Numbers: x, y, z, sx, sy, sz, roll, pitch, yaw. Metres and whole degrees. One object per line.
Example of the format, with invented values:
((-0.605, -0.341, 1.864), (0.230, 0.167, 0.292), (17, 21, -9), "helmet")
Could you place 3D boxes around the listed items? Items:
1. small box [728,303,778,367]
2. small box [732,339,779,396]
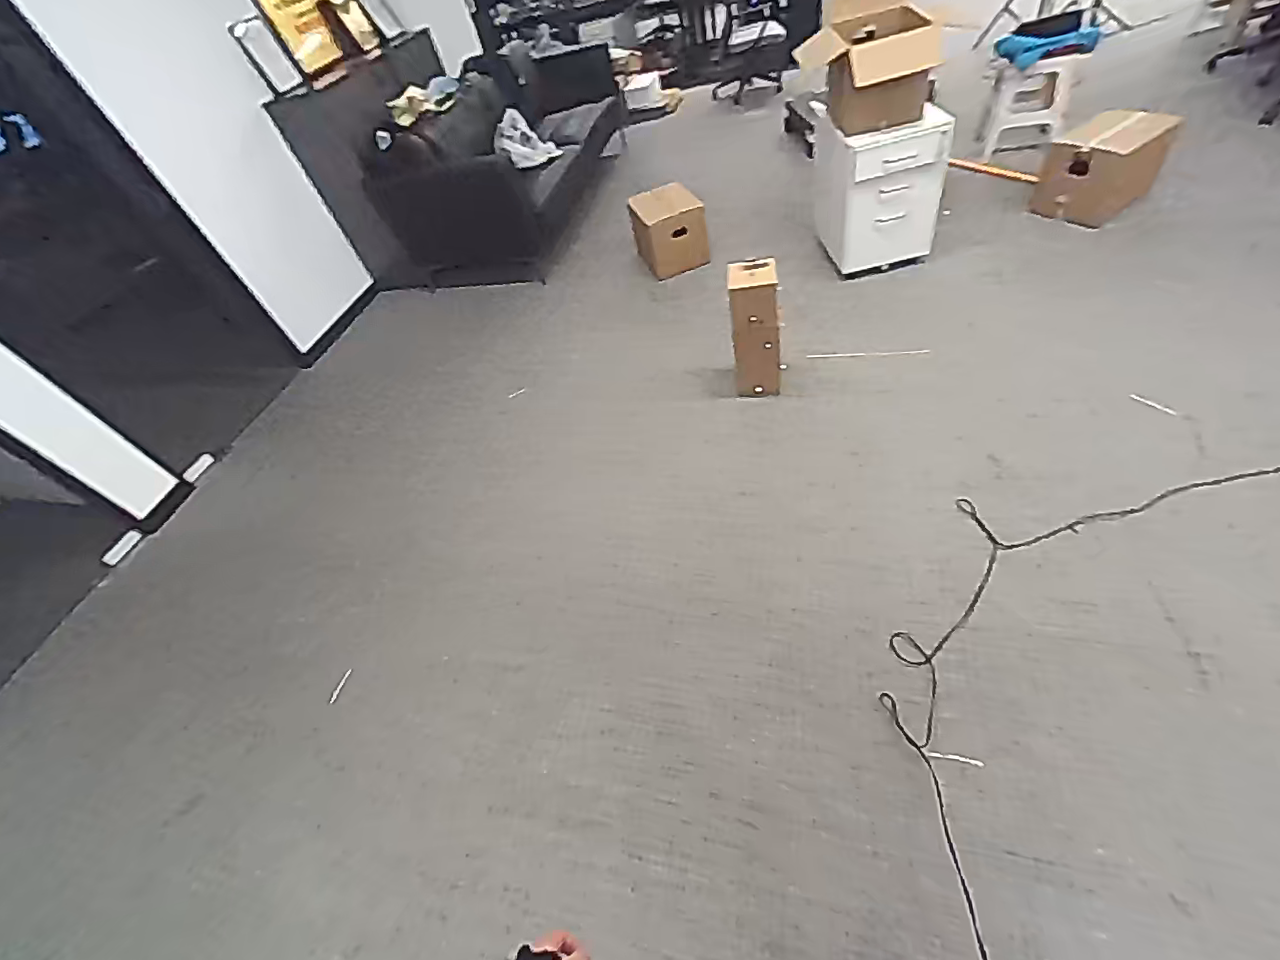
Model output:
((0.438, -0.554, 2.076), (0.179, 0.176, 0.168), (-3, 48, 16), "small box")
((0.475, -0.456, 2.202), (0.179, 0.176, 0.168), (1, 50, 17), "small box")
